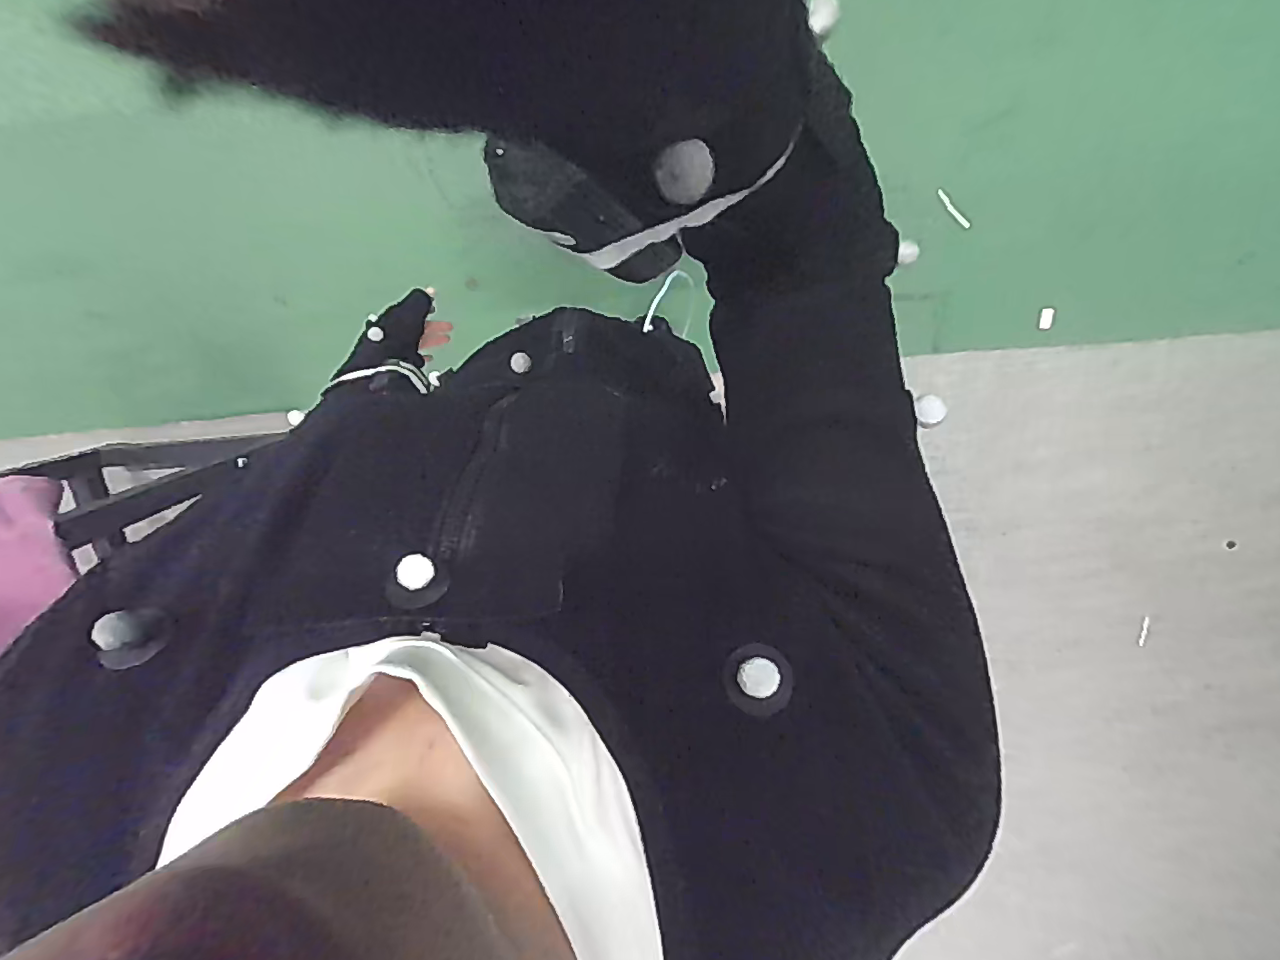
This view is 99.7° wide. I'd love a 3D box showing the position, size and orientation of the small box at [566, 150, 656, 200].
[{"bbox_3d":[-0.060,-0.661,1.047,0.168,0.176,0.179,-5,108,2],"label":"small box"}]
